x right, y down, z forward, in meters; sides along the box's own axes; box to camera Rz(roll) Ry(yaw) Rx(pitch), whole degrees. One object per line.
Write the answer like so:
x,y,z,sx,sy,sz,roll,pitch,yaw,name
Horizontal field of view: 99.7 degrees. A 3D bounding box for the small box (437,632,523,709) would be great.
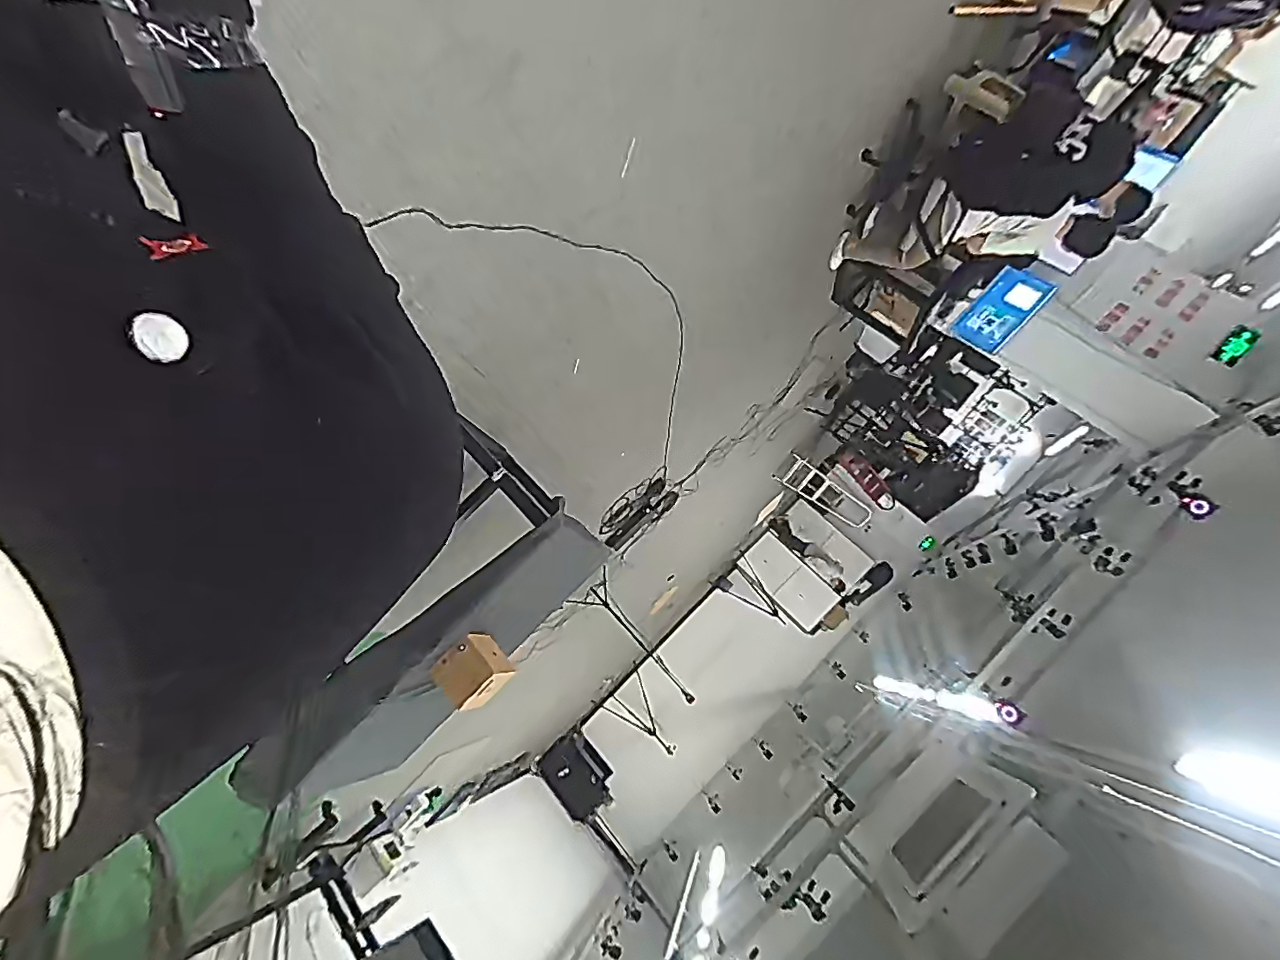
-0.525,0.617,1.773,0.168,0.176,0.179,-46,159,-1,small box
